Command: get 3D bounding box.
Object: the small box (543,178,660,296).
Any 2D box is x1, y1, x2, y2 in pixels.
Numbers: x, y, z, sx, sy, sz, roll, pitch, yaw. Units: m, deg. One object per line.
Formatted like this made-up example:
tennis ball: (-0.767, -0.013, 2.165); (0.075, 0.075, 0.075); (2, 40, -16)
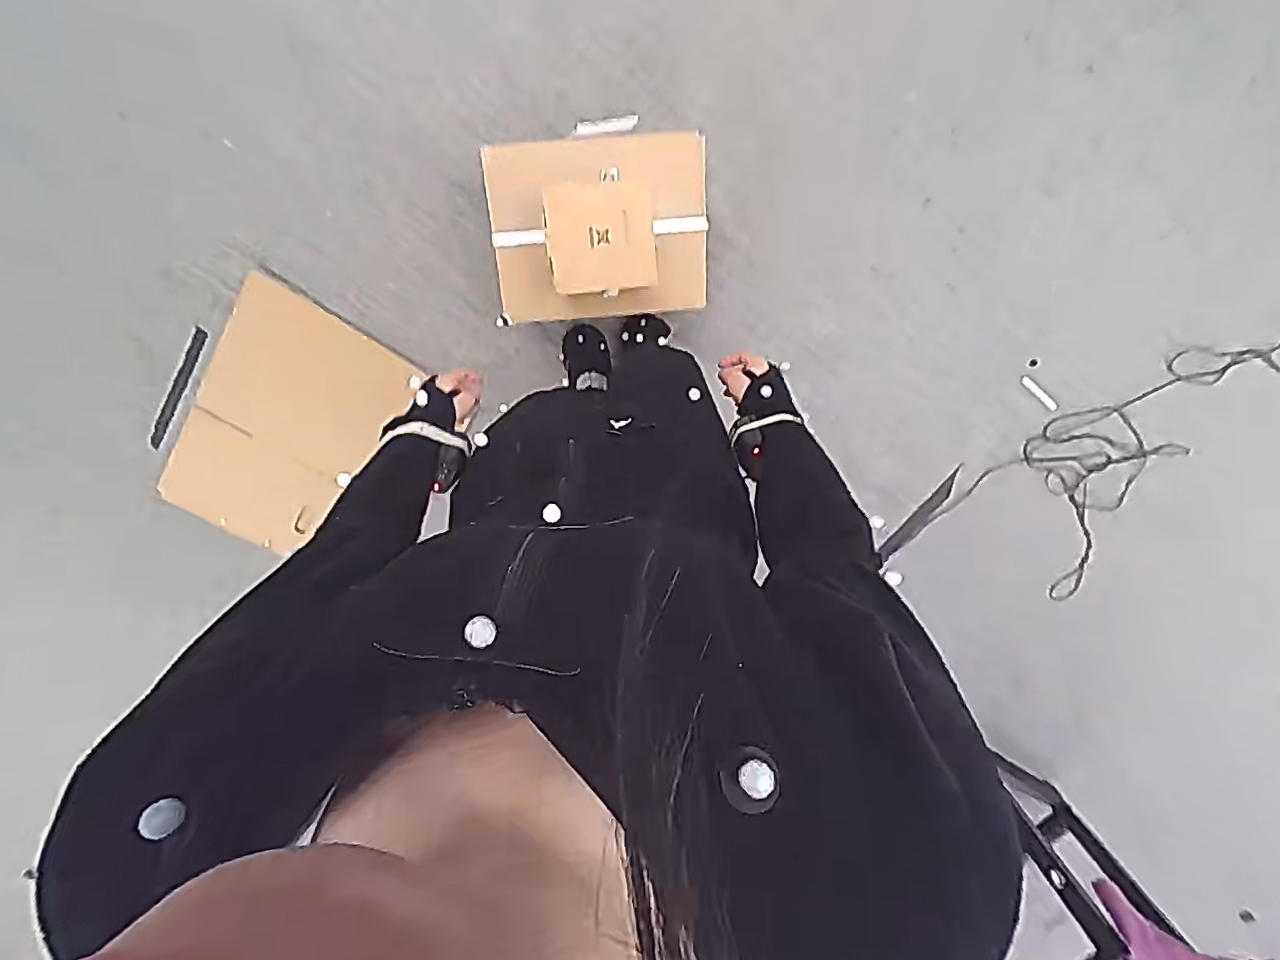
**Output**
small box: (-0.063, -0.418, 0.951); (0.179, 0.176, 0.168); (-7, 111, -1)
